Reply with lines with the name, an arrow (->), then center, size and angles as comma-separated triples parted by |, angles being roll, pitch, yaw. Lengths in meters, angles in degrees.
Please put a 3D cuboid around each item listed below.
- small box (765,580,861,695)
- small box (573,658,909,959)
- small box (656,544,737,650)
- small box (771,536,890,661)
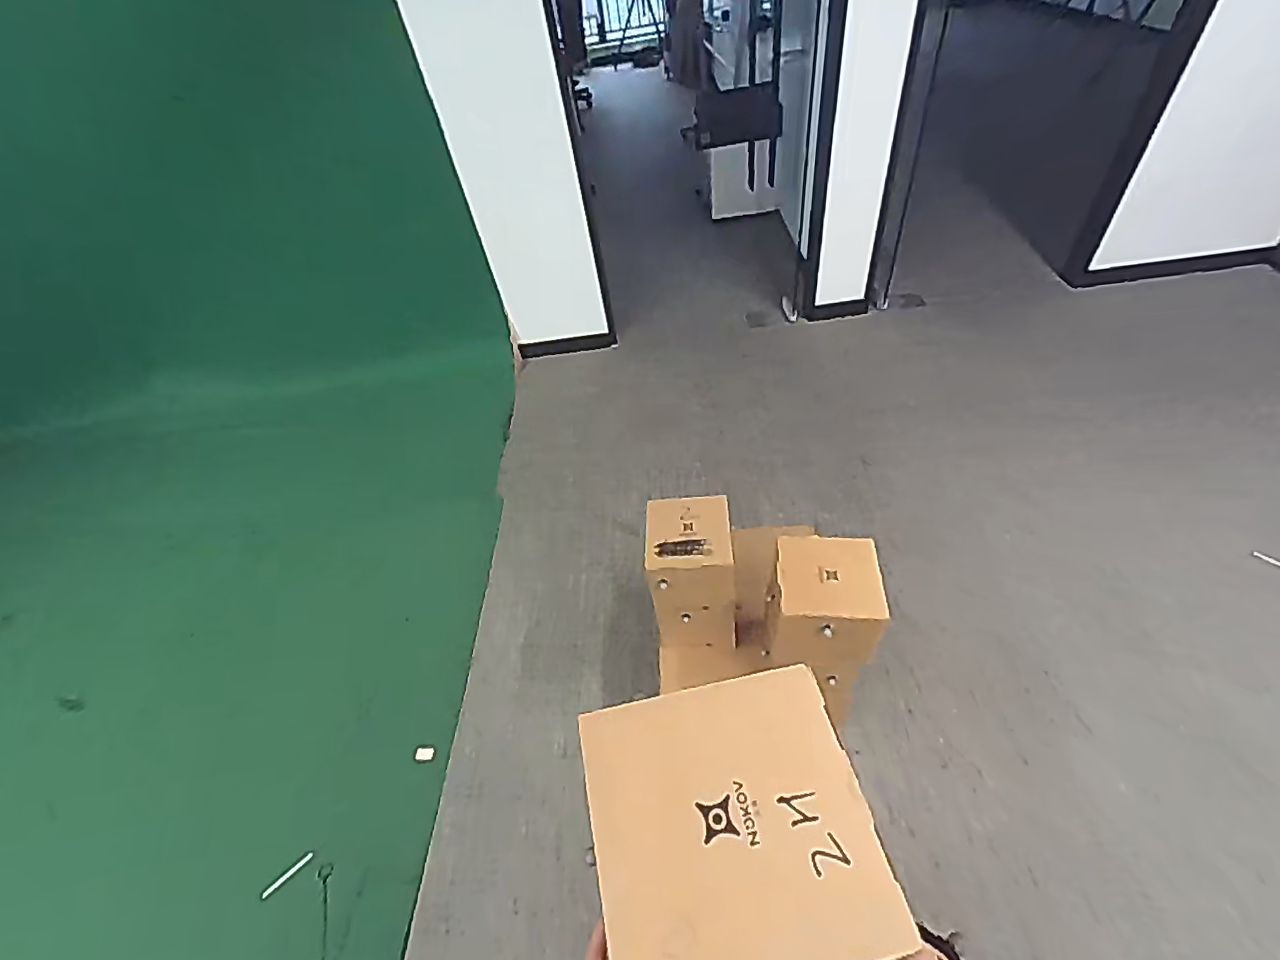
small box -> 0.350, 0.328, 1.123 | 0.168, 0.176, 0.179 | 0, 46, 9
small box -> 0.056, 0.257, 0.404 | 0.179, 0.176, 0.168 | -10, 52, -6
small box -> 0.134, 0.264, 1.226 | 0.168, 0.176, 0.179 | -2, 45, 10
small box -> 0.340, 0.221, 1.000 | 0.179, 0.176, 0.168 | 0, 47, 10
